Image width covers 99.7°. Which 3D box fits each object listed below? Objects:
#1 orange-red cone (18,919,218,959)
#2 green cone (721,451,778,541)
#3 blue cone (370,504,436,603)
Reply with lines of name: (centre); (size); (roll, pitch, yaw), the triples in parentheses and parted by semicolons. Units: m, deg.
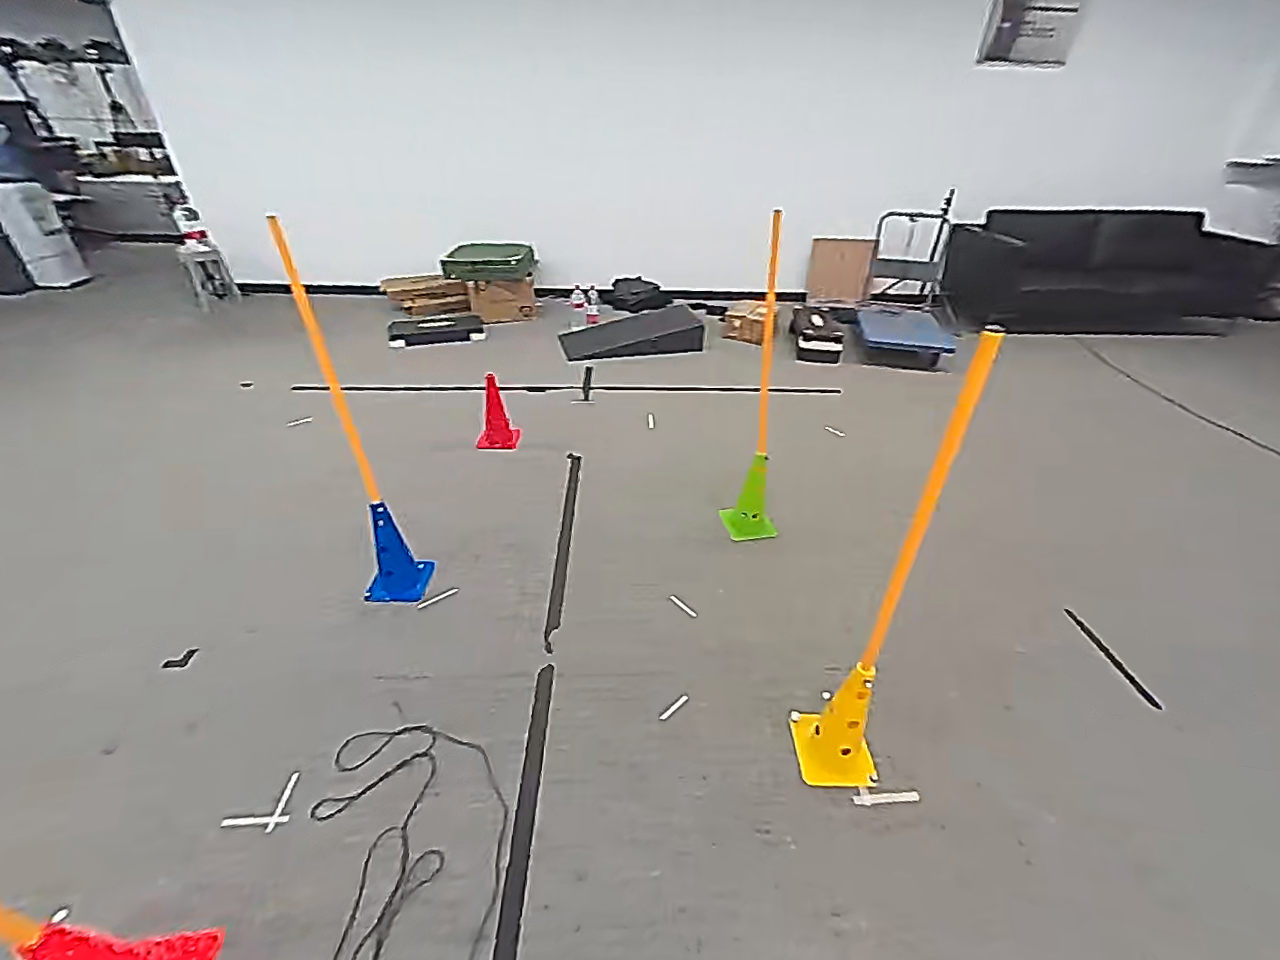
orange-red cone: (-0.938, 0.840, 0.930); (0.199, 0.360, 0.198); (-1, 35, -7)
green cone: (0.465, 0.043, 2.179); (0.200, 0.368, 0.202); (-6, 37, -11)
blue cone: (-0.847, 0.234, 1.857); (0.193, 0.380, 0.192); (2, 35, 0)
